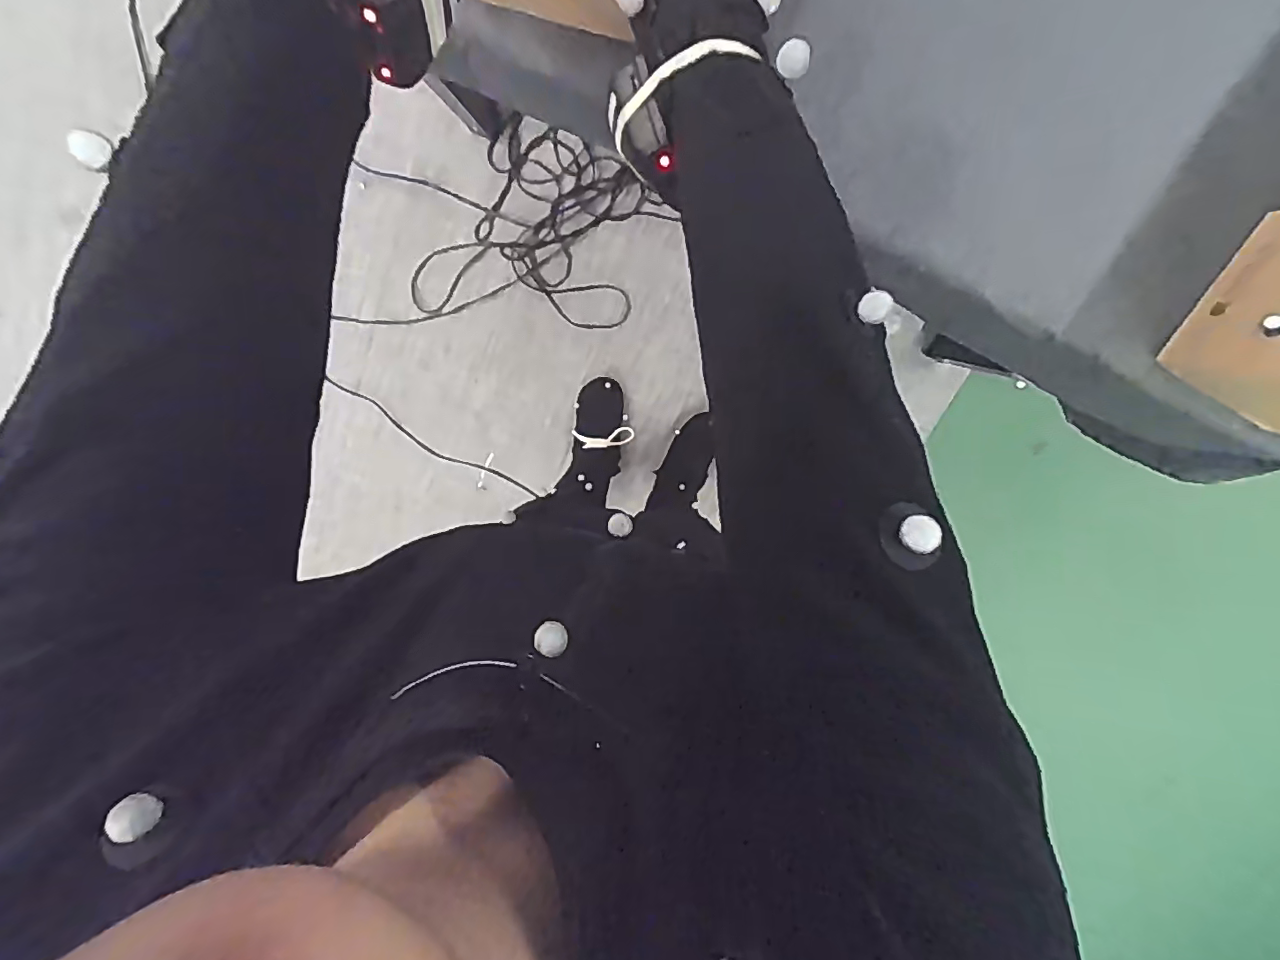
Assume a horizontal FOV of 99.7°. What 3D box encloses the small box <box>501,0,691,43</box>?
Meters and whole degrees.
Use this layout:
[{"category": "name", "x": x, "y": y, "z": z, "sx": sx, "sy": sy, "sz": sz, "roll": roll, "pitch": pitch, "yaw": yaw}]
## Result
[{"category": "small box", "x": -0.028, "y": -0.428, "z": 0.351, "sx": 0.179, "sy": 0.176, "sz": 0.168, "roll": 11, "pitch": 108, "yaw": -7}]
